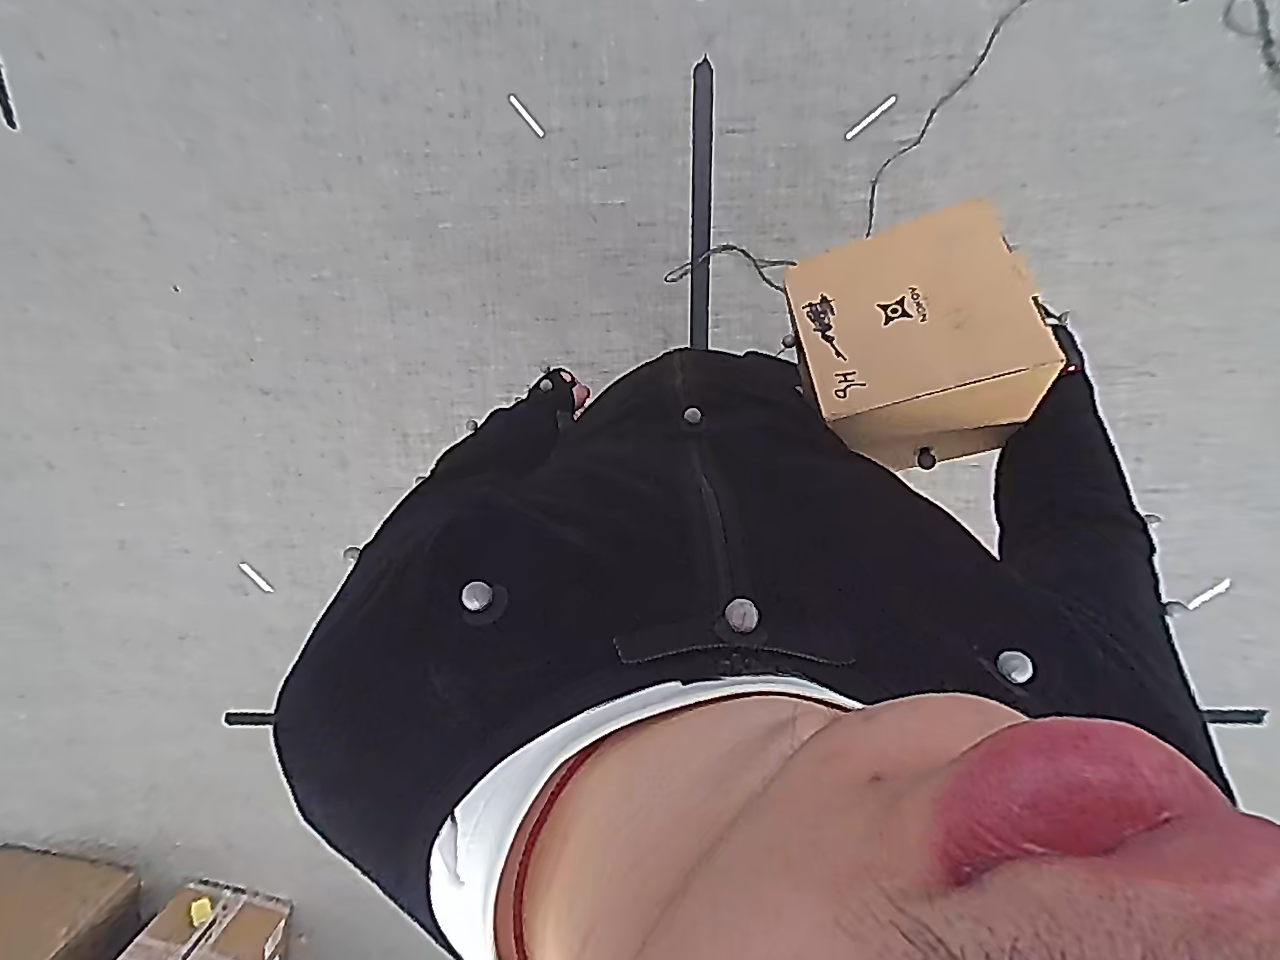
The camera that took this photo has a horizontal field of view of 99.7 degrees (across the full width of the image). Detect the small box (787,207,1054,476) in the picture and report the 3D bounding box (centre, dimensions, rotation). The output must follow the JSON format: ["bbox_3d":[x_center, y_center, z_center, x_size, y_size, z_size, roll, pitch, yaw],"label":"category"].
[{"bbox_3d":[0.256,-0.120,0.536,0.179,0.176,0.168,-14,66,17],"label":"small box"}]
